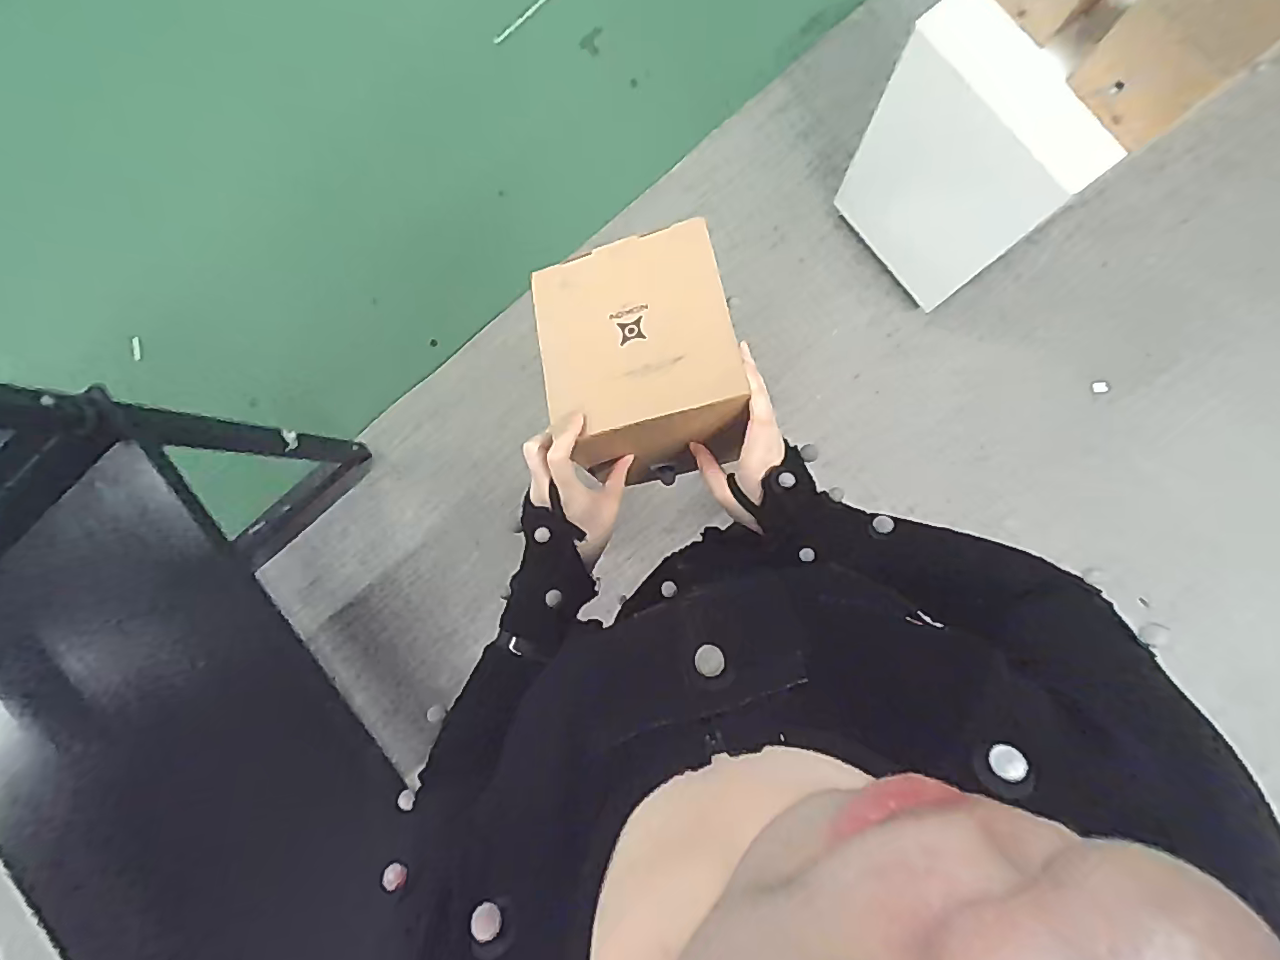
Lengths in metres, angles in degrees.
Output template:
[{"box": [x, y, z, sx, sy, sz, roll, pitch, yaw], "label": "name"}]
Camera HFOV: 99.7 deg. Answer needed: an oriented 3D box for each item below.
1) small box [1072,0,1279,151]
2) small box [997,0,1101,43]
[{"box": [0.801, -0.638, 0.787, 0.179, 0.176, 0.168, -36, 84, 4], "label": "small box"}, {"box": [0.667, -0.826, 0.807, 0.179, 0.176, 0.168, -37, 85, 4], "label": "small box"}]
